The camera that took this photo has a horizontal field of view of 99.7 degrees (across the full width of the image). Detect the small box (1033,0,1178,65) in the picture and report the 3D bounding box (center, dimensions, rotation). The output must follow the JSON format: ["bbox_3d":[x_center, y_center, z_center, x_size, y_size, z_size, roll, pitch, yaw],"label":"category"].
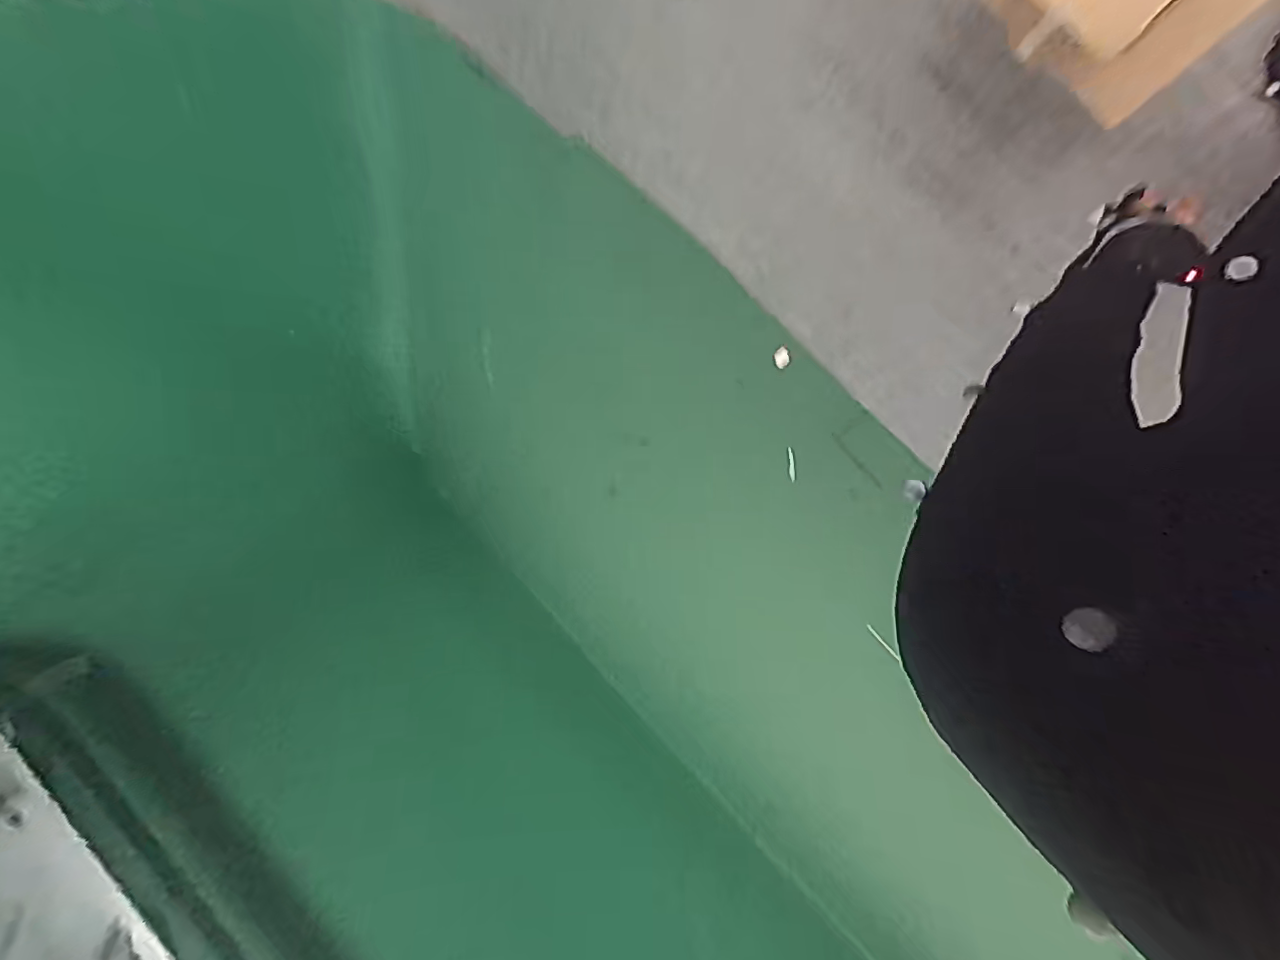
[{"bbox_3d":[0.410,-0.484,0.435,0.179,0.176,0.168,48,144,4],"label":"small box"}]

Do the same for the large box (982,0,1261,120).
[{"bbox_3d":[0.675,-0.731,0.628,0.320,0.320,0.408,47,145,2],"label":"large box"}]
